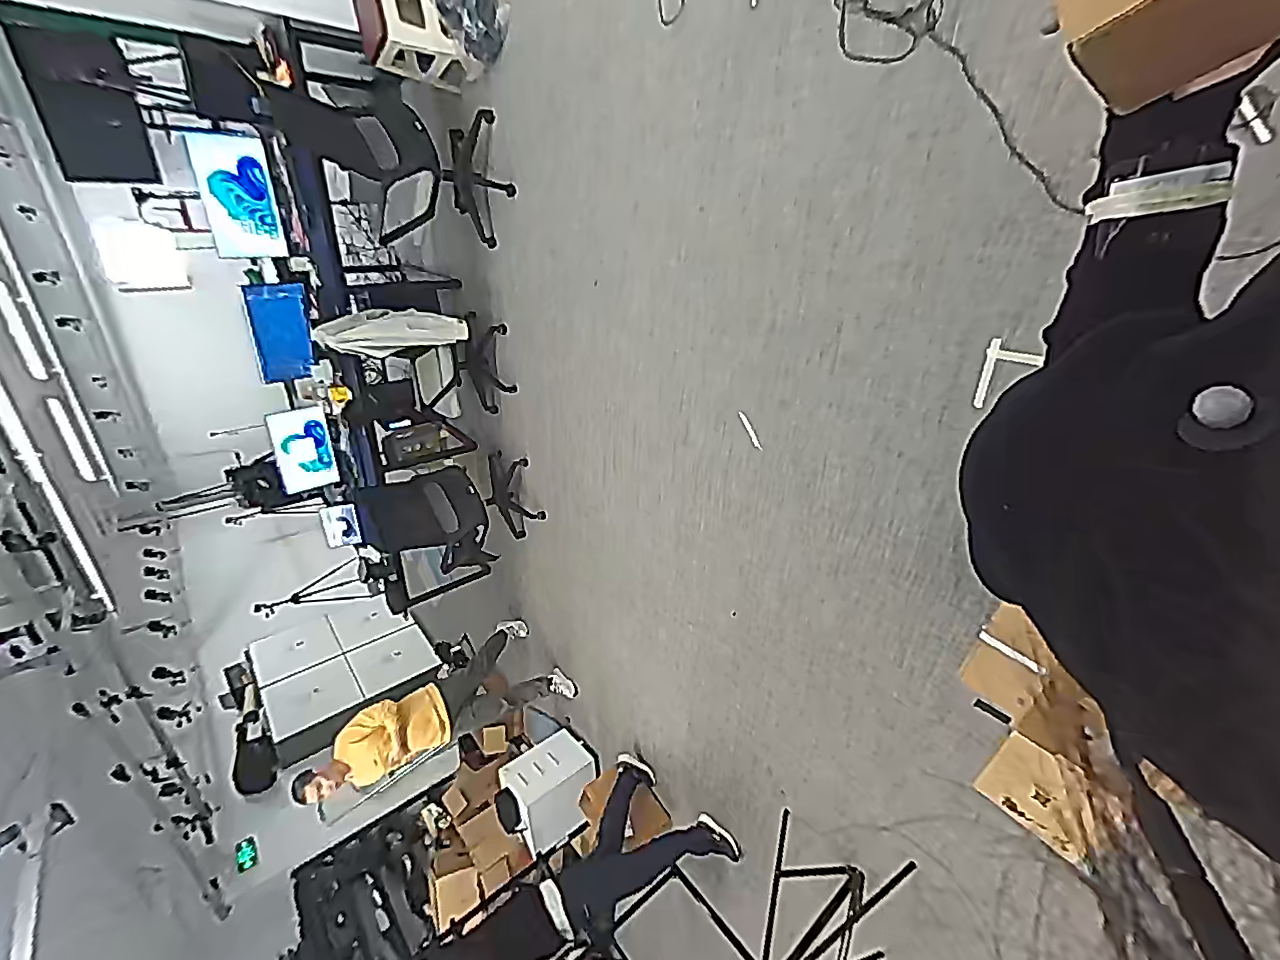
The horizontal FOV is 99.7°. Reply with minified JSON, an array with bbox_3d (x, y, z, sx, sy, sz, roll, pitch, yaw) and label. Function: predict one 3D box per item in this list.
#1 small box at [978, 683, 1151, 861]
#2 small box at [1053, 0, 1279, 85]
[{"bbox_3d":[0.731,0.491,0.932,0.168,0.176,0.179,35,131,39],"label":"small box"},{"bbox_3d":[0.273,-0.305,0.223,0.168,0.176,0.179,-13,95,49],"label":"small box"}]
